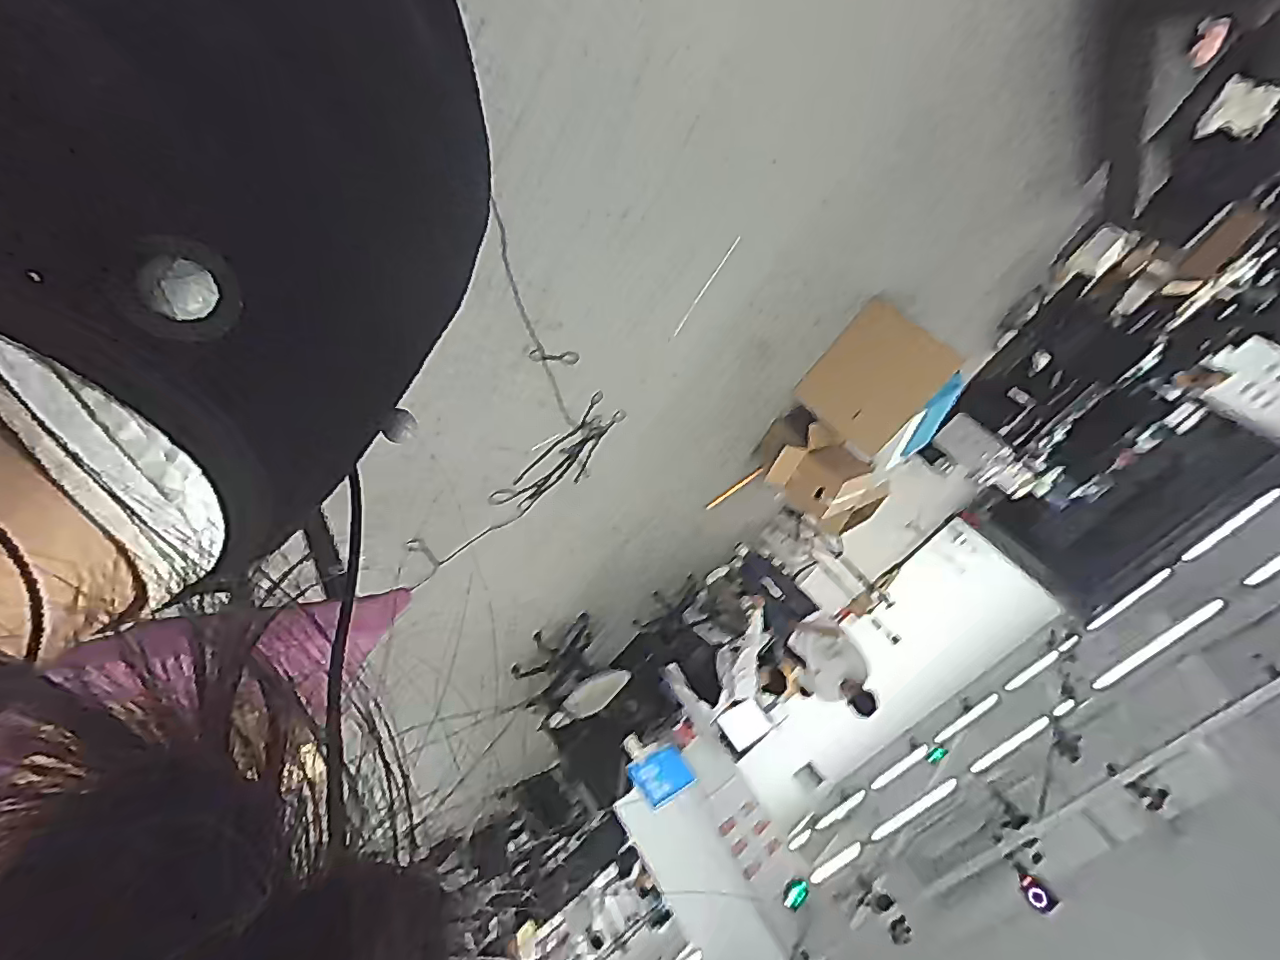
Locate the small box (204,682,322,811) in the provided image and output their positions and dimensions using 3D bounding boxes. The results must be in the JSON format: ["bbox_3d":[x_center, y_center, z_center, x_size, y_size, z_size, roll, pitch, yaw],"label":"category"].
[{"bbox_3d":[-0.823,0.578,1.186,0.168,0.176,0.179,-19,144,-33],"label":"small box"}]

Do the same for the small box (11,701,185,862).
[{"bbox_3d":[-0.953,0.509,0.949,0.179,0.176,0.168,-45,151,11],"label":"small box"}]
